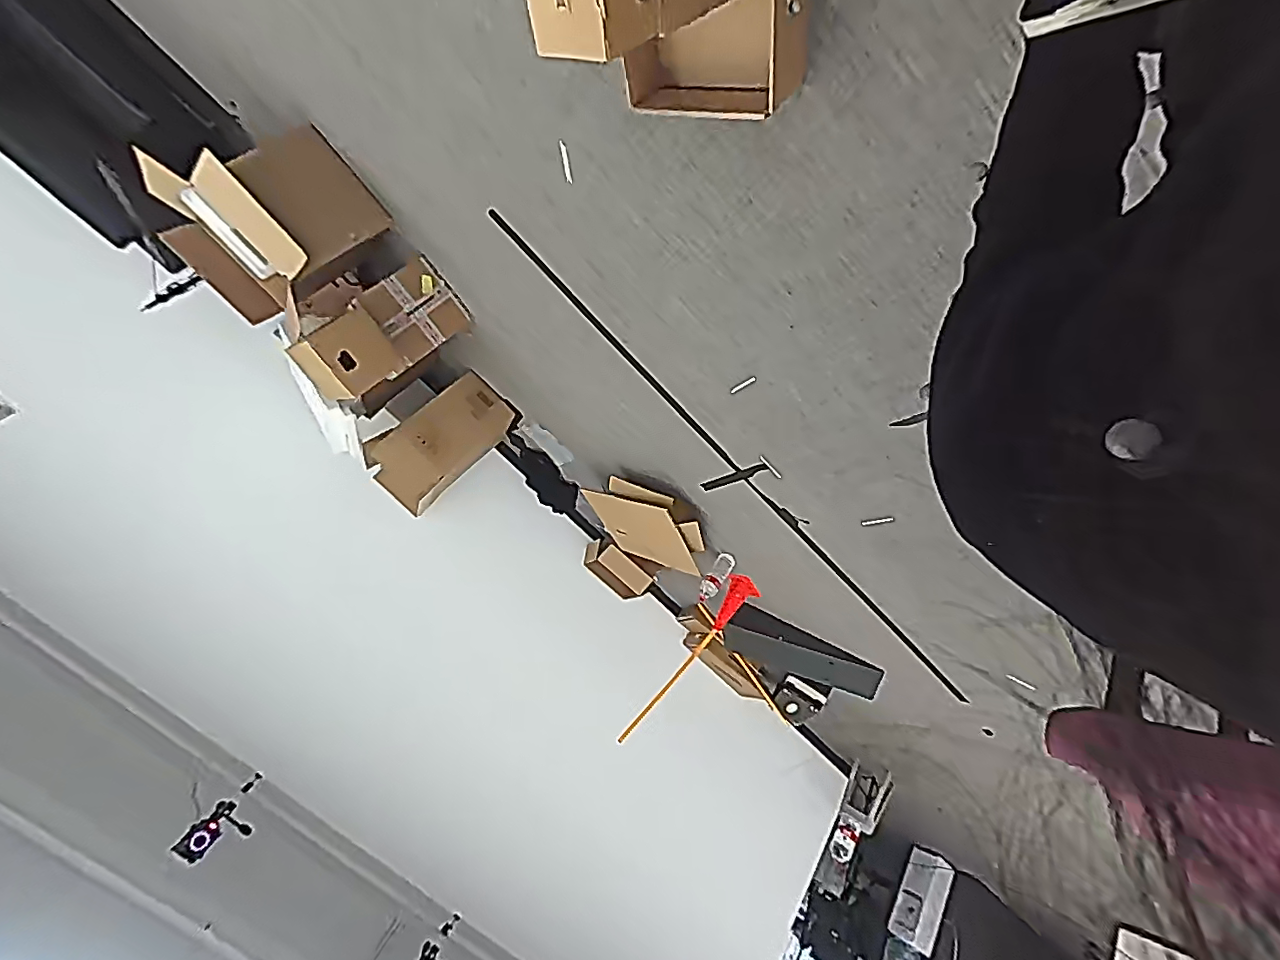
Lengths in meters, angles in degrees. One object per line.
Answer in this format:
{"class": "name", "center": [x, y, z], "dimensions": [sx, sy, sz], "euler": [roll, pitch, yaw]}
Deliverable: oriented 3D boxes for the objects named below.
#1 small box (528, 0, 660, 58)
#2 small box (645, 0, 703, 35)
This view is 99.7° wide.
{"class": "small box", "center": [-0.085, -0.880, 0.959], "dimensions": [0.179, 0.176, 0.168], "euler": [26, 150, 25]}
{"class": "small box", "center": [0.016, -0.985, 1.034], "dimensions": [0.179, 0.176, 0.168], "euler": [26, 150, 24]}
